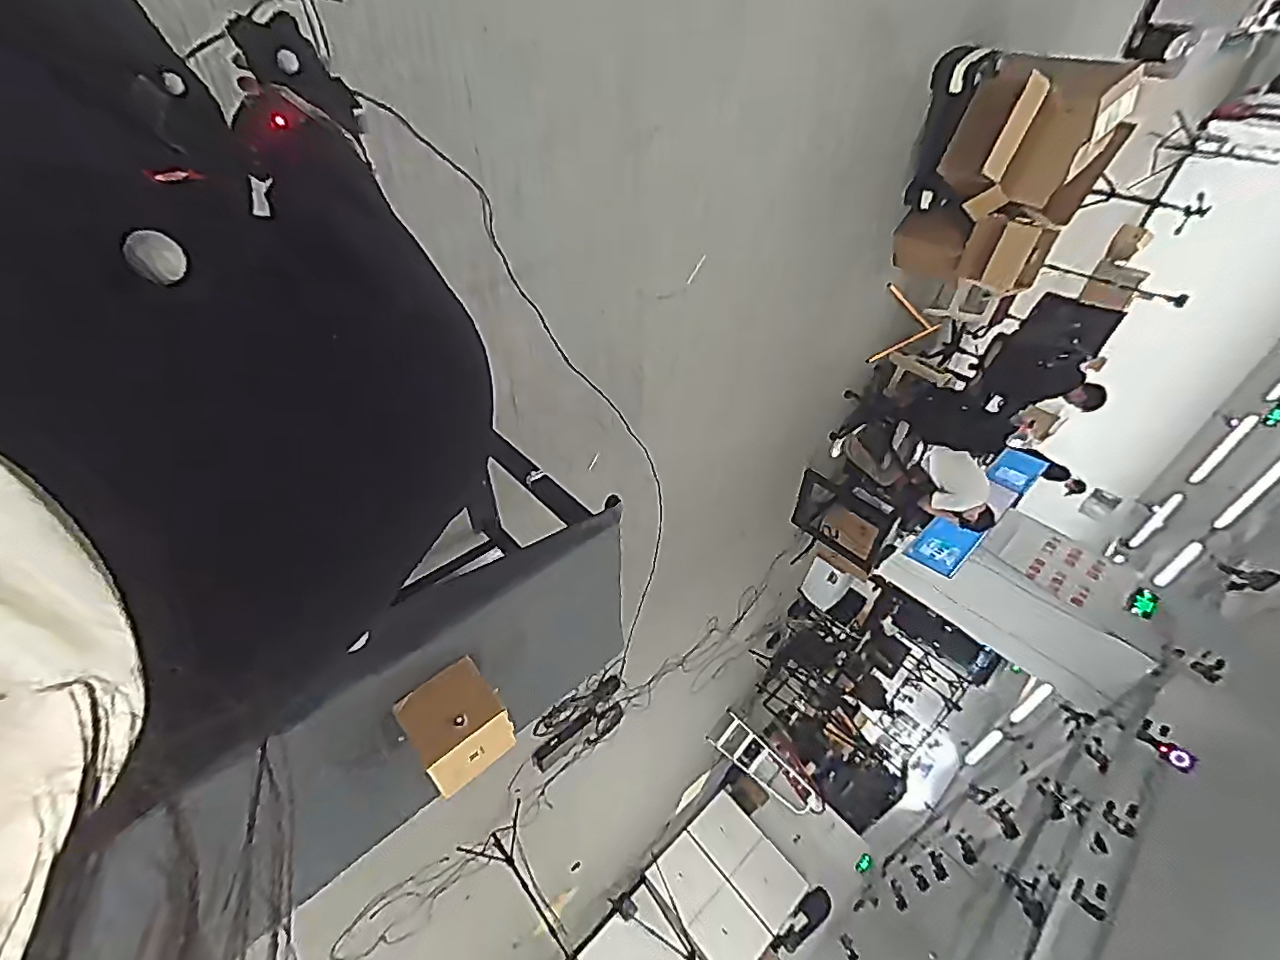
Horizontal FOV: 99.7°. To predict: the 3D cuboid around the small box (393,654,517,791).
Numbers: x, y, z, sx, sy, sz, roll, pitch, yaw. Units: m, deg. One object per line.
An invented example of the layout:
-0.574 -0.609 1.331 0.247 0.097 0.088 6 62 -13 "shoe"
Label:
-0.392 0.509 1.154 0.179 0.176 0.168 -31 140 -29 "small box"
